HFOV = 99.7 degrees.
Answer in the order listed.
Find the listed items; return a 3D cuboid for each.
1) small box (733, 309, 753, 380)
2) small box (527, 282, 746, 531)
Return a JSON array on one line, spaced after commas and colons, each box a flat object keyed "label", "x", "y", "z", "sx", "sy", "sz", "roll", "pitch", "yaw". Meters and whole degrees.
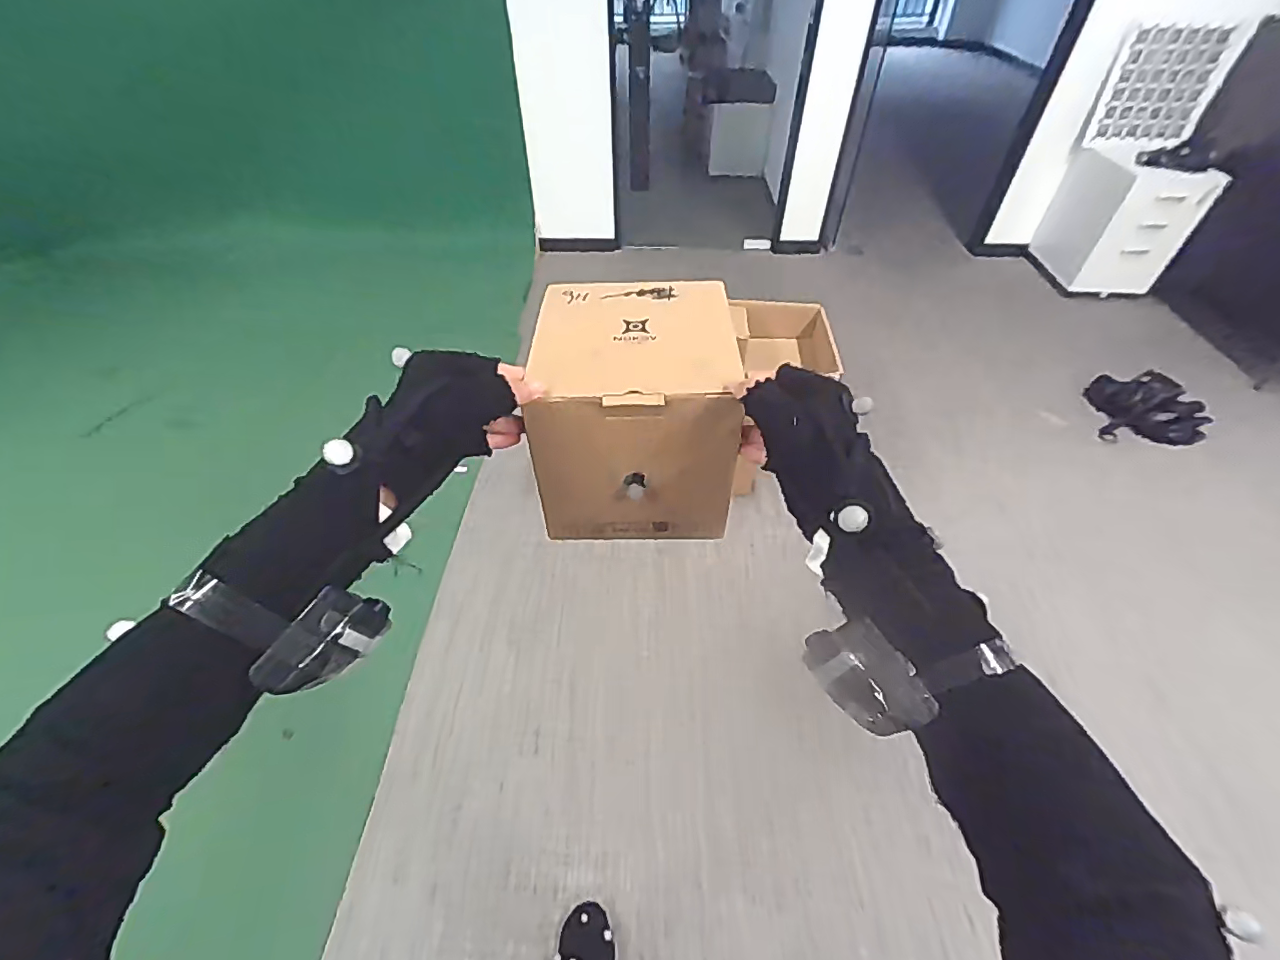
[{"label": "small box", "x": 0.261, "y": -0.427, "z": 1.716, "sx": 0.168, "sy": 0.176, "sz": 0.179, "roll": 5, "pitch": 45, "yaw": 1}, {"label": "small box", "x": 0.002, "y": -0.065, "z": 0.509, "sx": 0.168, "sy": 0.176, "sz": 0.179, "roll": 0, "pitch": 47, "yaw": 1}]
